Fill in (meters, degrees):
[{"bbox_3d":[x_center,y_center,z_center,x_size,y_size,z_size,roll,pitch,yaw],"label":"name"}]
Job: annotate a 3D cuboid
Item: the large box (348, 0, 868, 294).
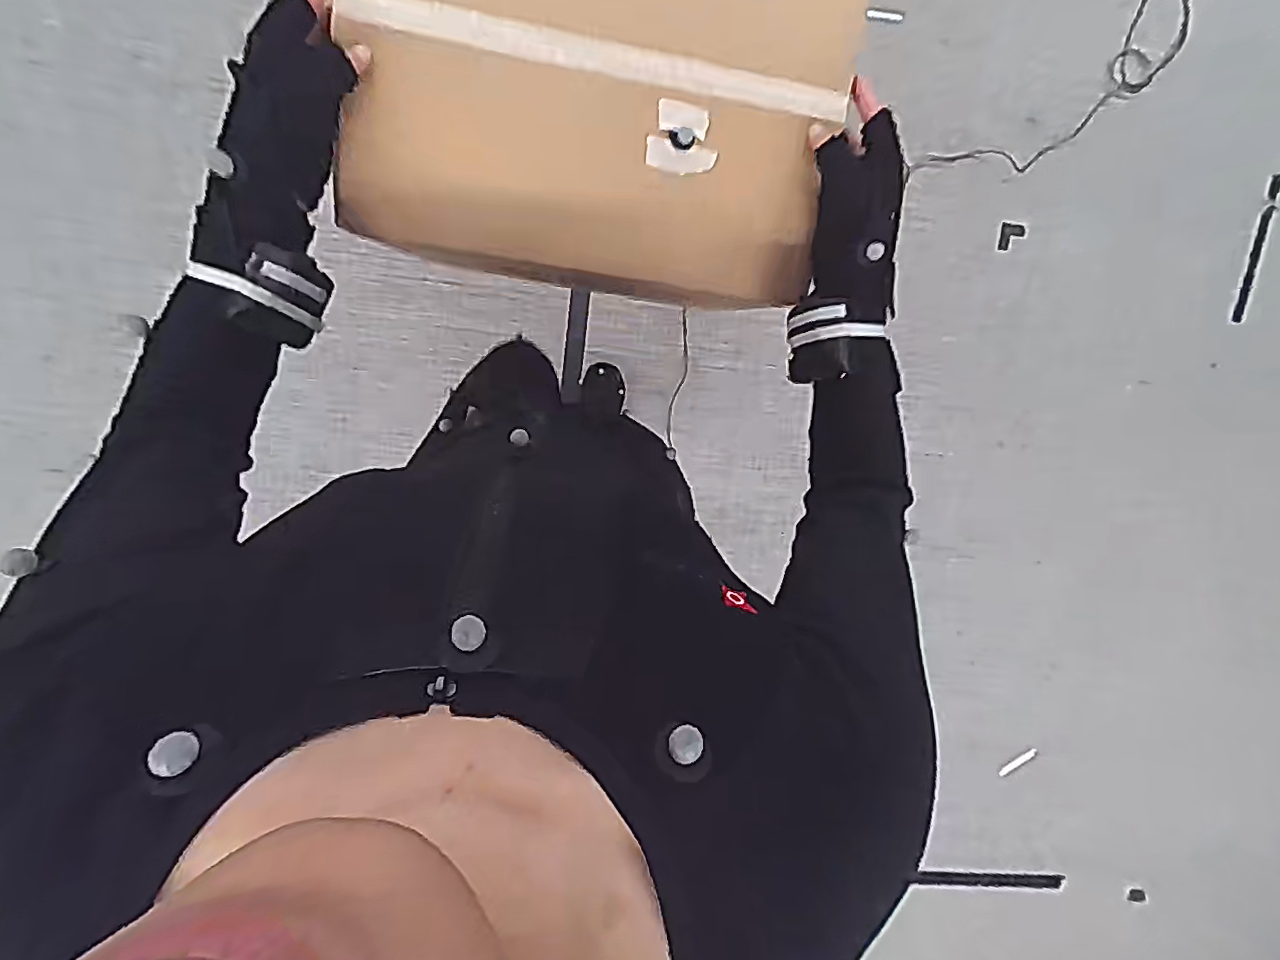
[{"bbox_3d":[-0.039,-0.386,0.566,0.408,0.320,0.320,6,107,-9],"label":"large box"}]
